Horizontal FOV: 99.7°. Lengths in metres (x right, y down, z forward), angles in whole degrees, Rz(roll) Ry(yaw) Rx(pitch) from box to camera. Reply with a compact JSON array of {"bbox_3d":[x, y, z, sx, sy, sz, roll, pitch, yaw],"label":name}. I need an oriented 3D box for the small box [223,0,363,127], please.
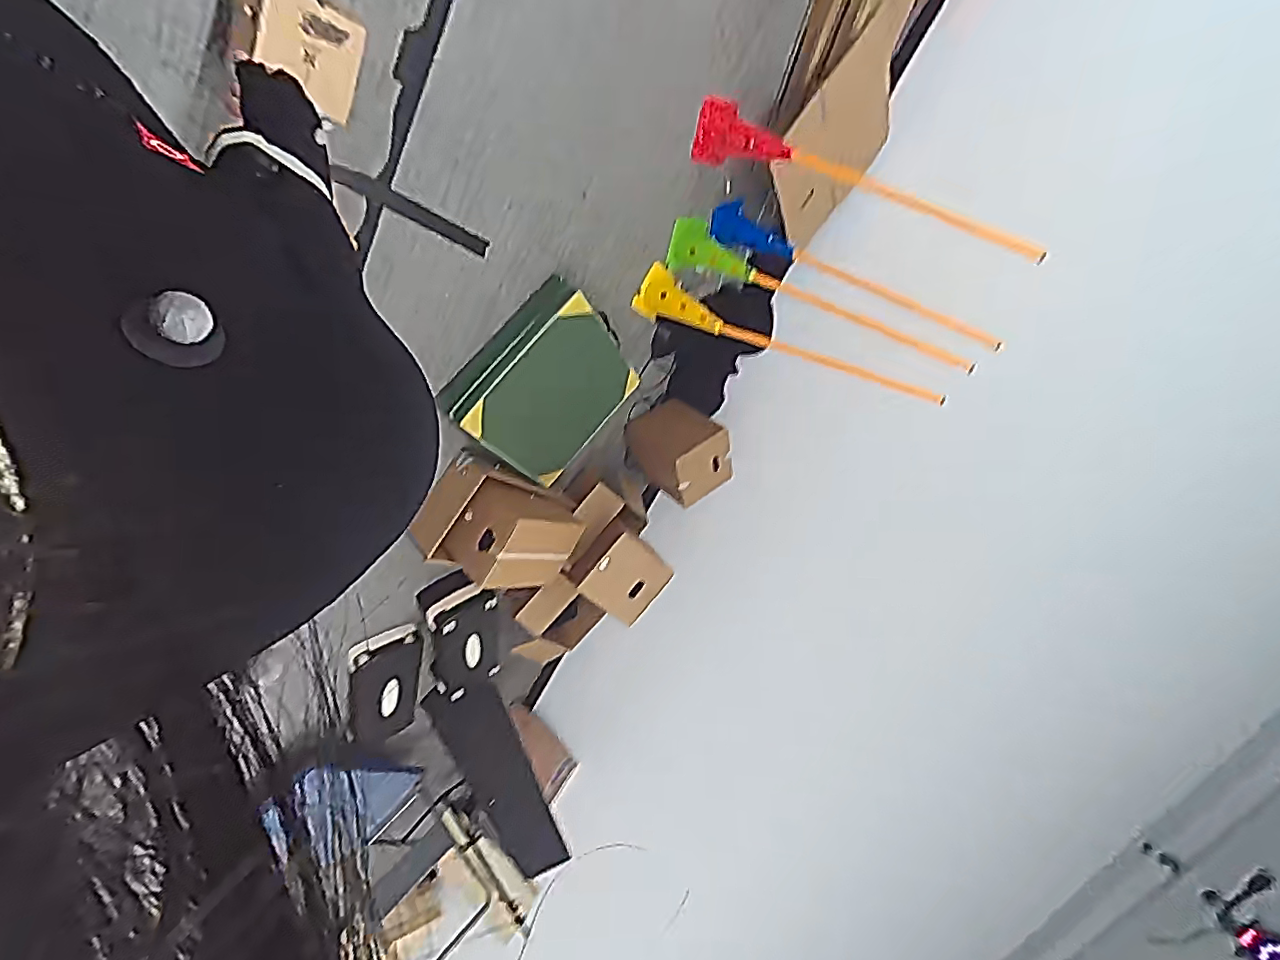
[{"bbox_3d":[-0.666,-0.824,1.033,0.168,0.176,0.179,-2,125,-54],"label":"small box"}]
